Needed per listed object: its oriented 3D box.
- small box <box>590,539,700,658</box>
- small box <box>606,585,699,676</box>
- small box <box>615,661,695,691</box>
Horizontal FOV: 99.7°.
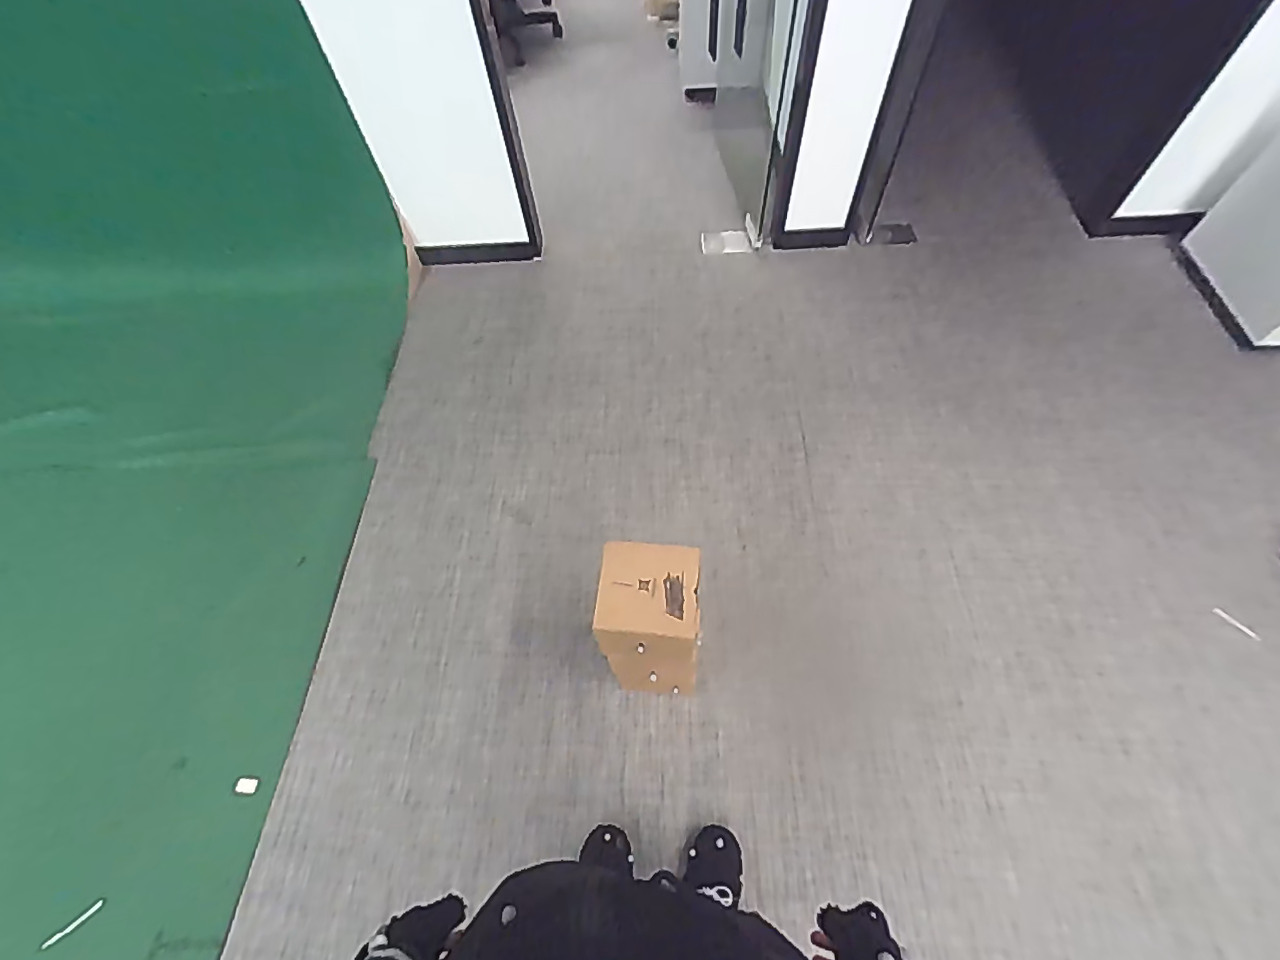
[{"bbox_3d":[0.018,0.227,1.013,0.179,0.176,0.168,4,59,8],"label":"small box"},{"bbox_3d":[0.030,0.314,1.152,0.179,0.176,0.168,3,59,5],"label":"small box"},{"bbox_3d":[0.041,0.402,1.290,0.179,0.176,0.168,1,58,5],"label":"small box"}]
